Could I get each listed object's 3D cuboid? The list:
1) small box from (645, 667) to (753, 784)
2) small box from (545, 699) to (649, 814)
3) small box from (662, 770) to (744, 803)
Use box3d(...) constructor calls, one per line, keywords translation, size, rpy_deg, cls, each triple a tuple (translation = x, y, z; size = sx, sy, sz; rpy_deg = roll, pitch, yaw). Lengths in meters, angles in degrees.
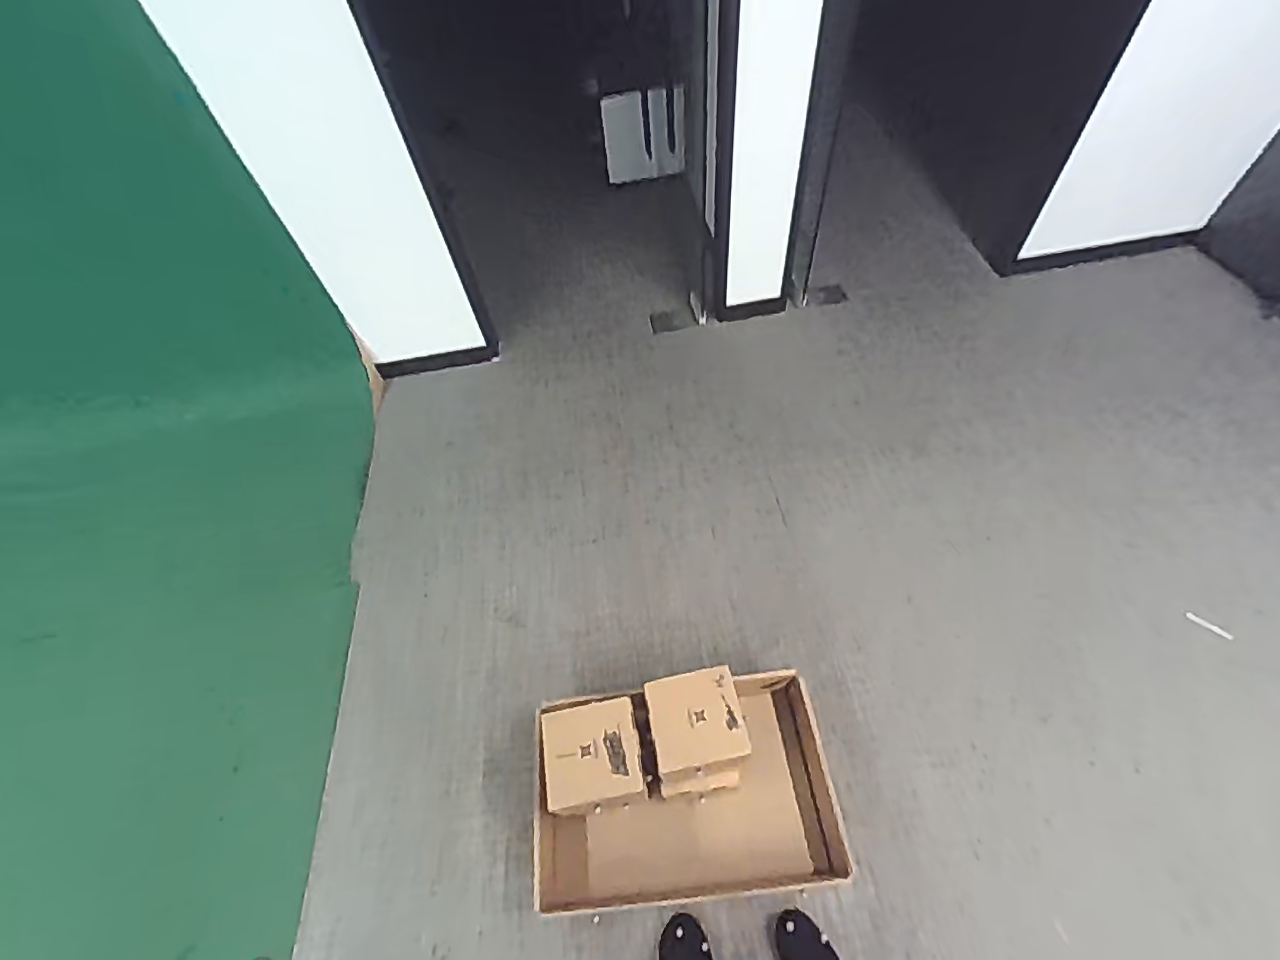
box3d(translation=(0.119, 0.495, 1.082), size=(0.179, 0.176, 0.168), rpy_deg=(-13, 54, 0), cls="small box")
box3d(translation=(-0.080, 0.549, 1.068), size=(0.179, 0.176, 0.168), rpy_deg=(-11, 55, -1), cls="small box")
box3d(translation=(0.132, 0.604, 1.205), size=(0.168, 0.176, 0.179), rpy_deg=(-9, 55, 3), cls="small box")
